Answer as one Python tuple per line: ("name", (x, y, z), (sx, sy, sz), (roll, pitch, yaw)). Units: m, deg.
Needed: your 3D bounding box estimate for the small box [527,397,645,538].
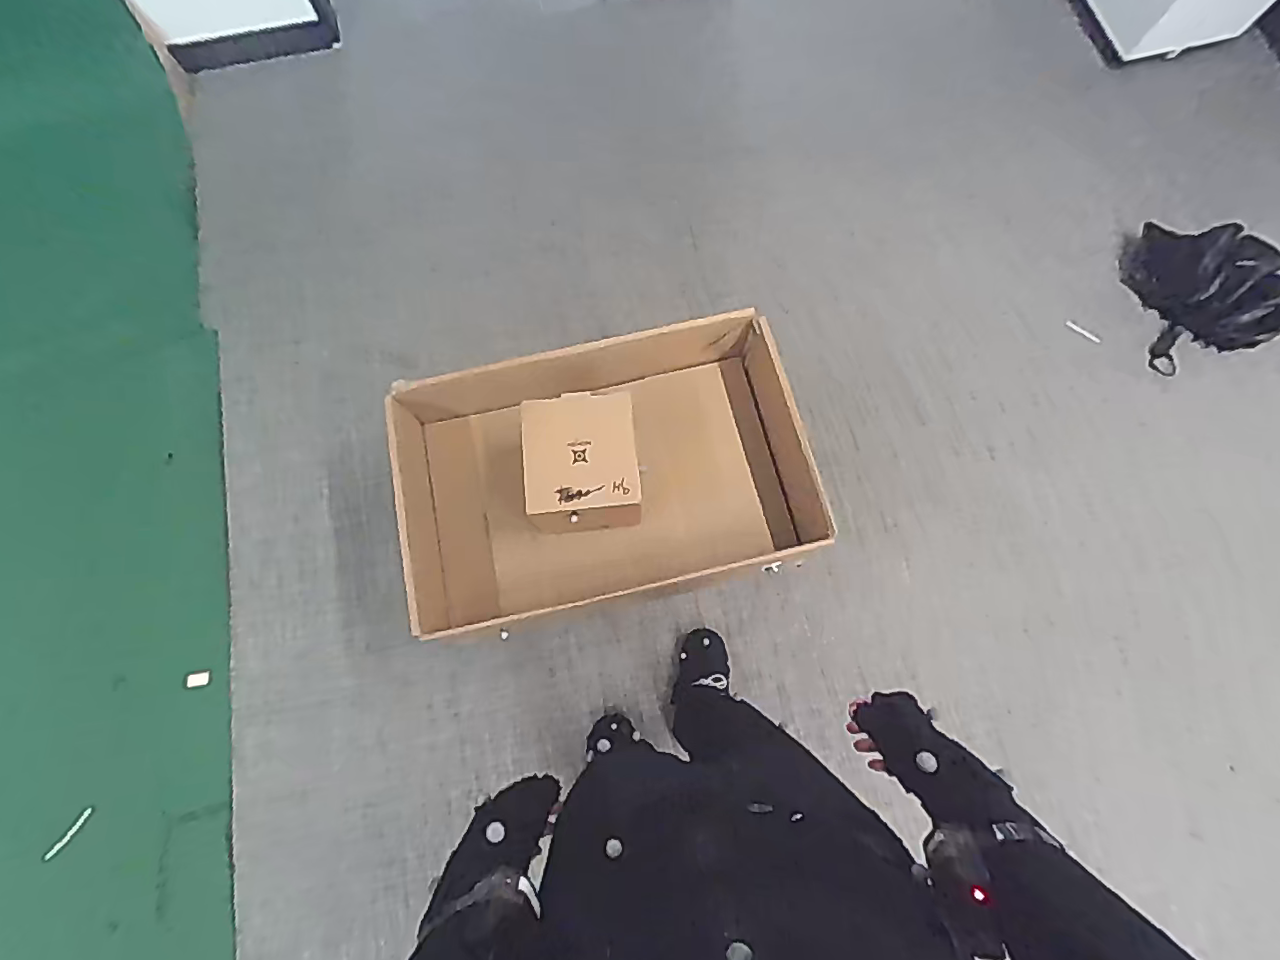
("small box", (-0.082, -0.014, 0.864), (0.168, 0.176, 0.179), (-6, 73, -1))
